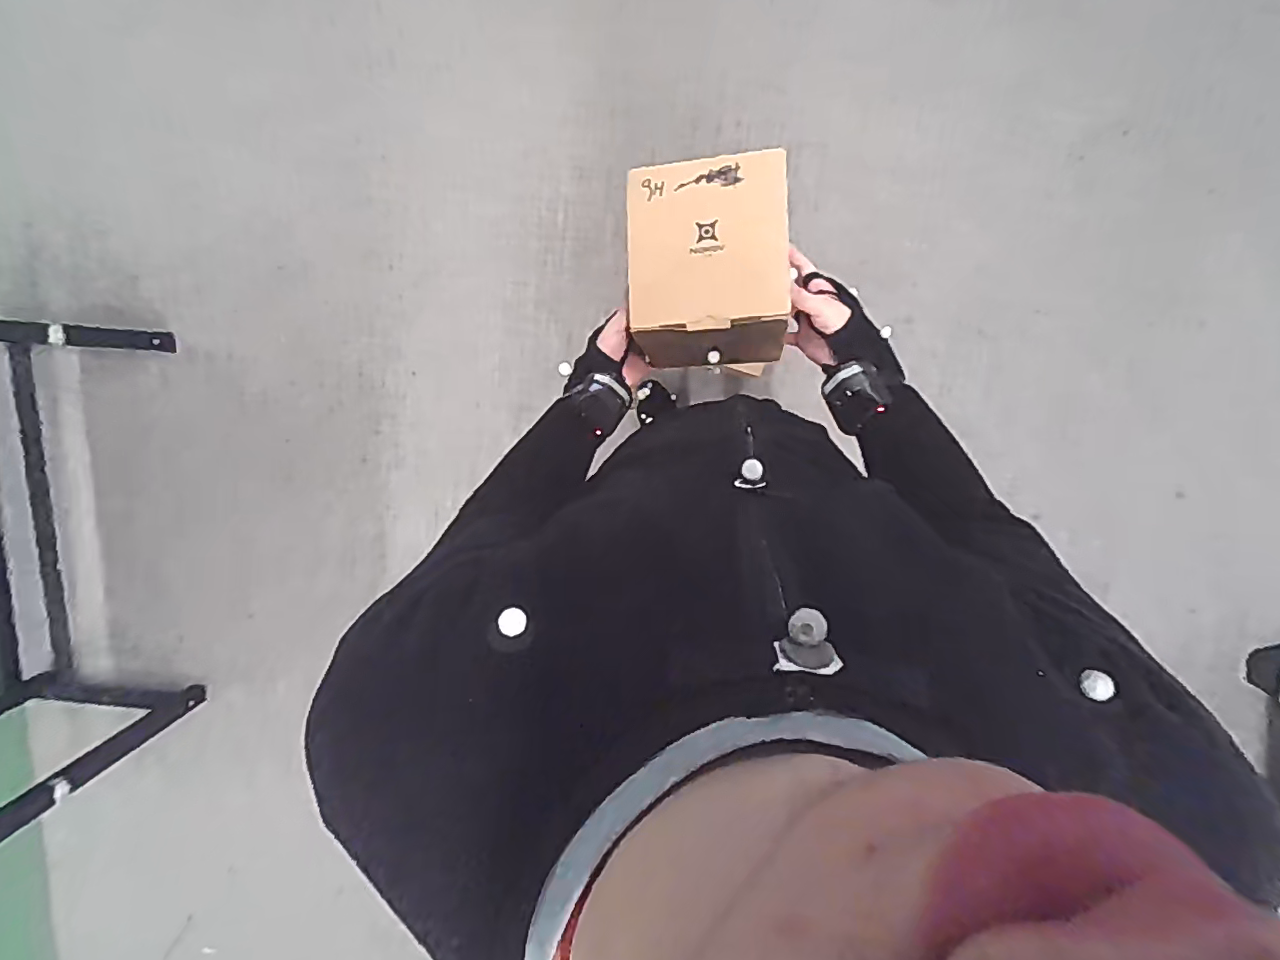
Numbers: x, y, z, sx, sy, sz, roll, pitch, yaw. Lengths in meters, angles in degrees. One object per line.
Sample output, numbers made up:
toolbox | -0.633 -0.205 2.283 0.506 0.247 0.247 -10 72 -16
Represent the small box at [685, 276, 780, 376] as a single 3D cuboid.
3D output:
small box | 0.206 -0.351 1.262 0.168 0.176 0.179 19 101 1
